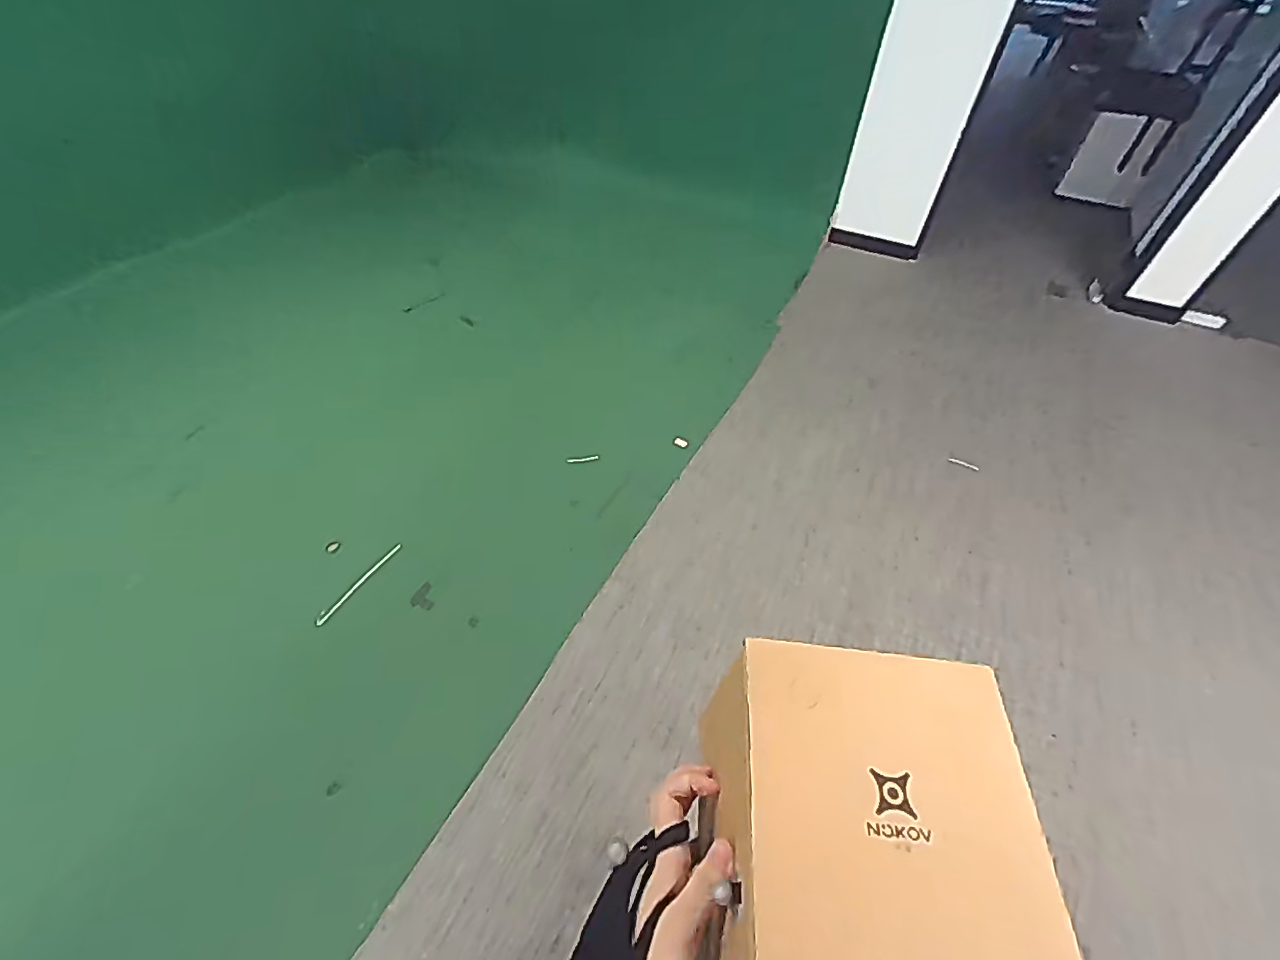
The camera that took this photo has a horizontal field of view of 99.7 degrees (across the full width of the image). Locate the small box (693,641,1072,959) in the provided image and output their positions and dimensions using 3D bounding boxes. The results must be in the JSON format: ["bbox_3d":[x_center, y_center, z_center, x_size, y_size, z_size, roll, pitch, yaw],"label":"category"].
[{"bbox_3d":[0.132,0.233,0.368,0.168,0.176,0.179,7,52,-2],"label":"small box"}]
